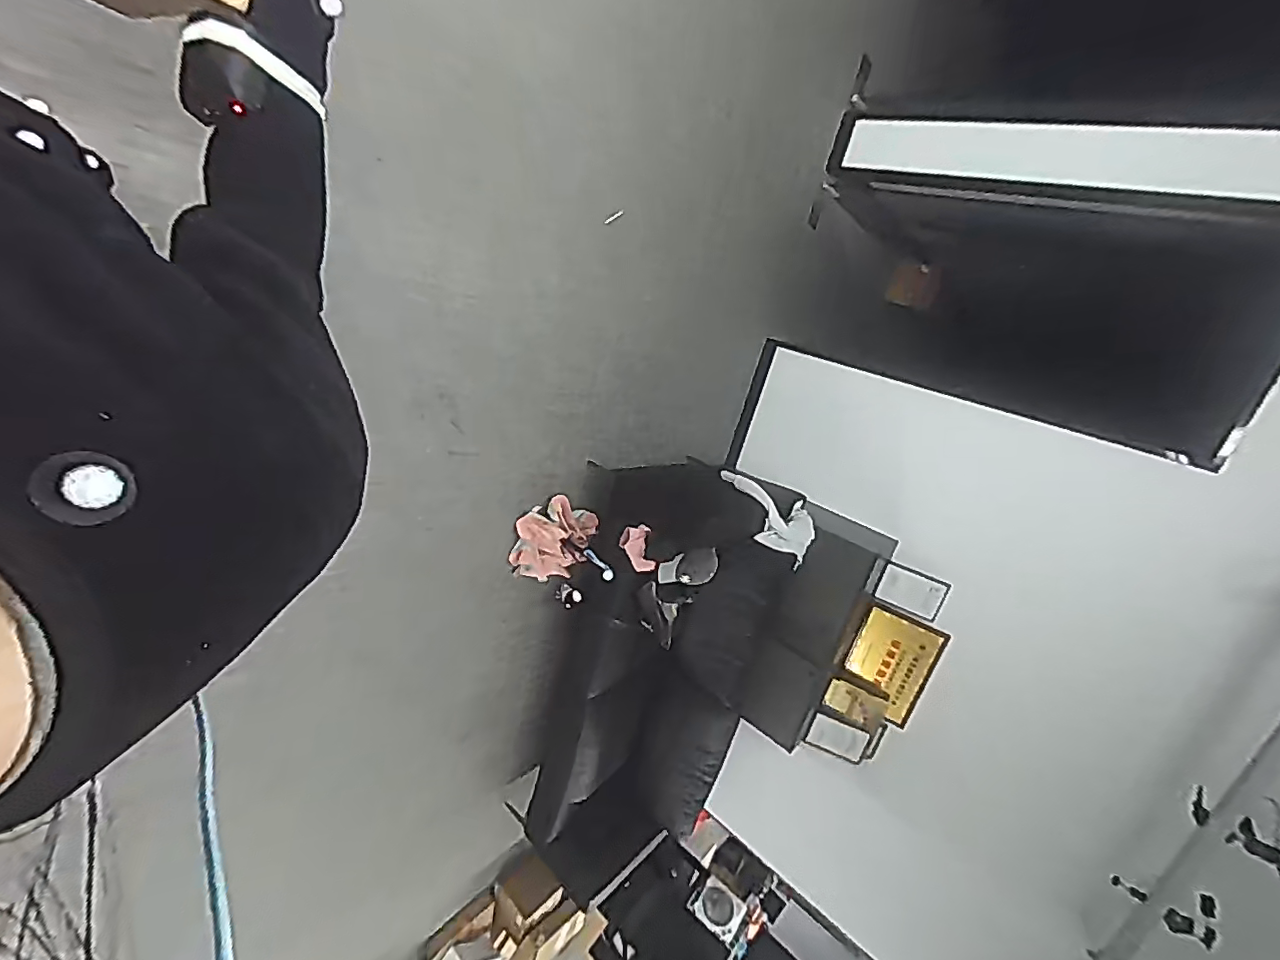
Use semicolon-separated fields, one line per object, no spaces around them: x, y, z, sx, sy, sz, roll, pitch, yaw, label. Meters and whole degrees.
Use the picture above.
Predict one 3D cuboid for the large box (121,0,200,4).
-0.485;-0.540;0.280;0.408;0.320;0.320;-7;120;-52;large box
